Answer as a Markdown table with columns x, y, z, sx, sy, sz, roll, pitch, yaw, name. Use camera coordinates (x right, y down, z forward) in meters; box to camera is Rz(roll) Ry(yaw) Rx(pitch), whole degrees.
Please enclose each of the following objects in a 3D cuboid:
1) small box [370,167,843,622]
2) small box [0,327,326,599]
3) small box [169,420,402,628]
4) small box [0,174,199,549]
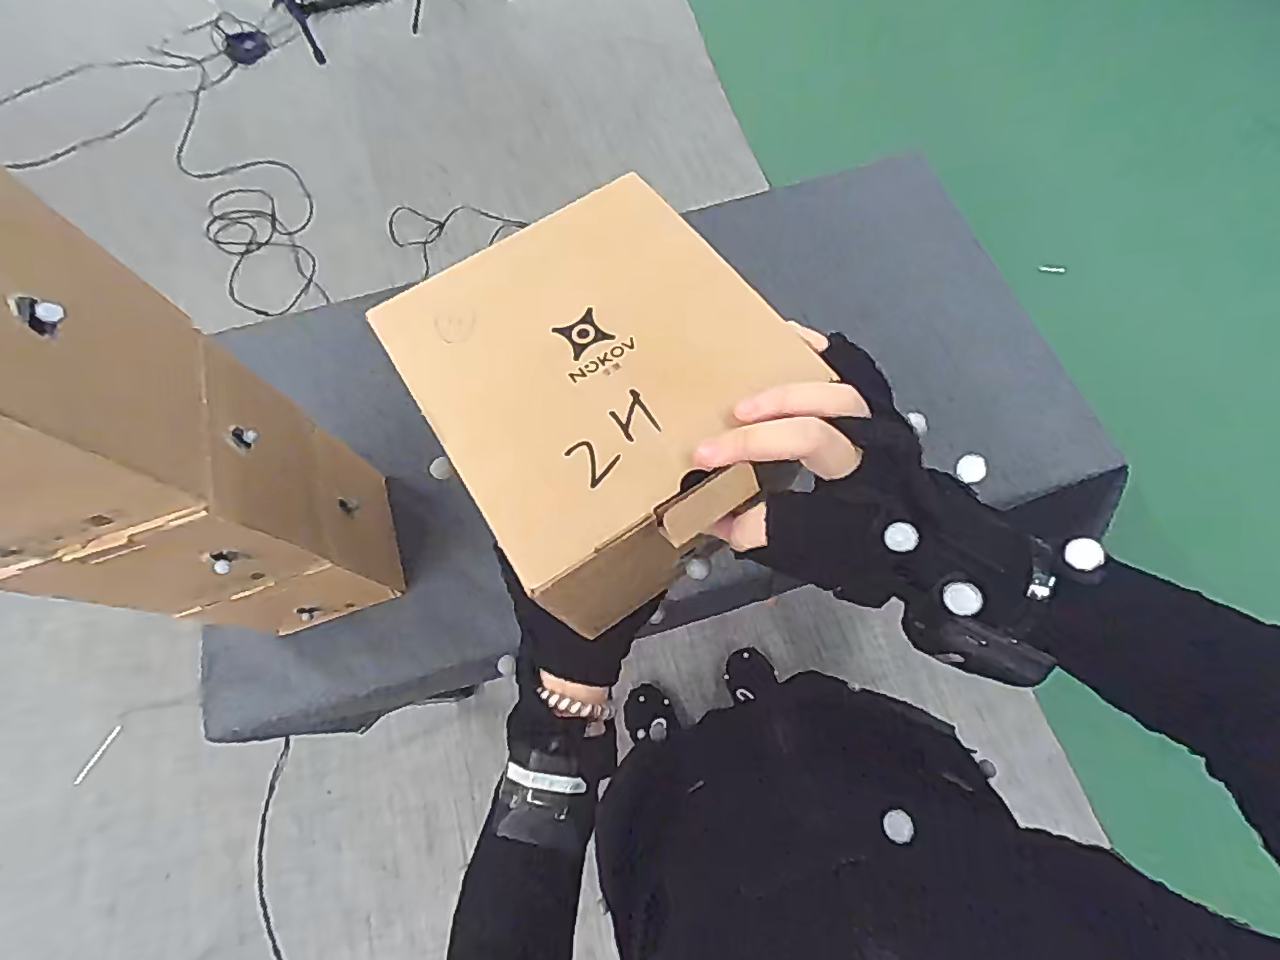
| x | y | z | sx | sy | sz | roll | pitch | yaw | name |
| --- | --- | --- | --- | --- | --- | --- | --- | --- | --- |
| -0.019 | -0.036 | 0.329 | 0.168 | 0.176 | 0.179 | -33 | 70 | -9 | small box |
| -0.415 | -0.001 | 0.492 | 0.168 | 0.176 | 0.179 | -18 | 69 | -5 | small box |
| -0.408 | 0.060 | 0.643 | 0.168 | 0.176 | 0.179 | -19 | 70 | -5 | small box |
| -0.423 | -0.066 | 0.342 | 0.168 | 0.176 | 0.179 | -19 | 69 | -6 | small box |
